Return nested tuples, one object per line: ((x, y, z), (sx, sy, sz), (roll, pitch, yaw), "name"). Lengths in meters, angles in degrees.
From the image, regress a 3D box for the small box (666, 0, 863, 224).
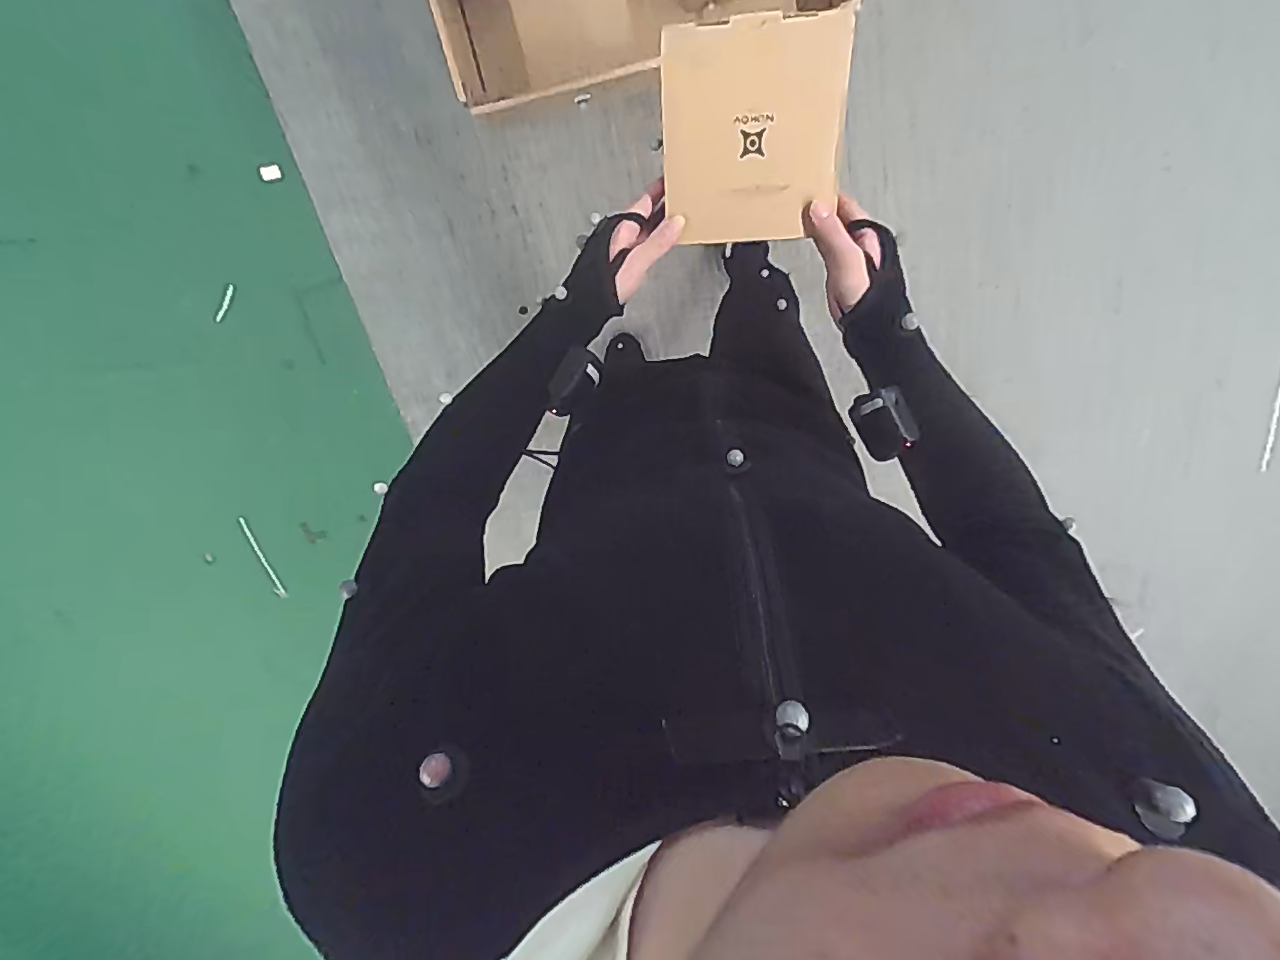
((0.110, -0.365, 0.557), (0.168, 0.176, 0.179), (-1, 118, 4), "small box")
